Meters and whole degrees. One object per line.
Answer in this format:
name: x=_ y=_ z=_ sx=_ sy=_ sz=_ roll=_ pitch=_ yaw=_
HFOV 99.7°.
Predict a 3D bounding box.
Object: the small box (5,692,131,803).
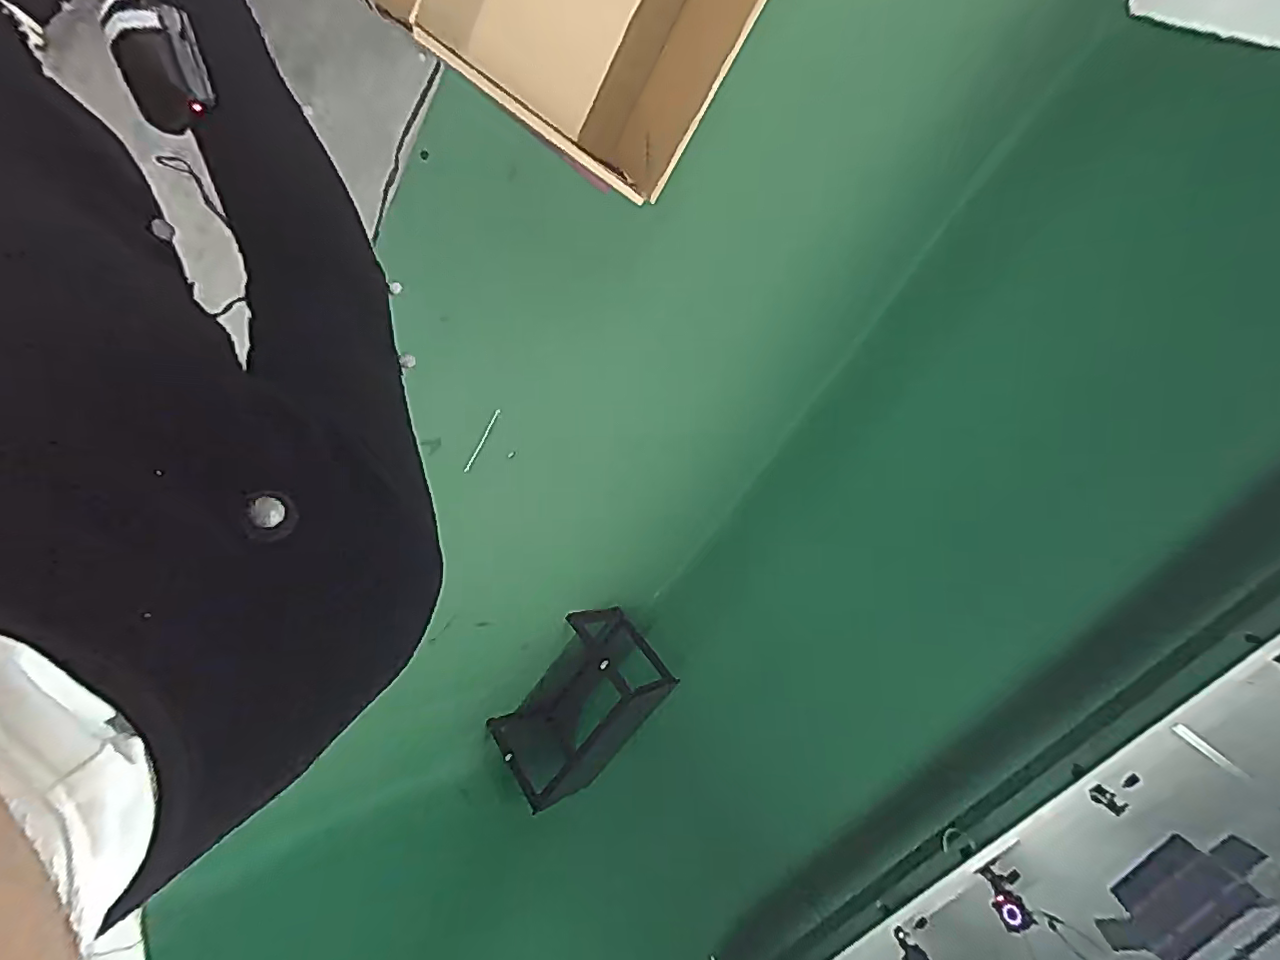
small box: x=-1.502 y=0.701 z=1.428 sx=0.179 sy=0.176 sz=0.168 roll=-26 pitch=145 yaw=-29
